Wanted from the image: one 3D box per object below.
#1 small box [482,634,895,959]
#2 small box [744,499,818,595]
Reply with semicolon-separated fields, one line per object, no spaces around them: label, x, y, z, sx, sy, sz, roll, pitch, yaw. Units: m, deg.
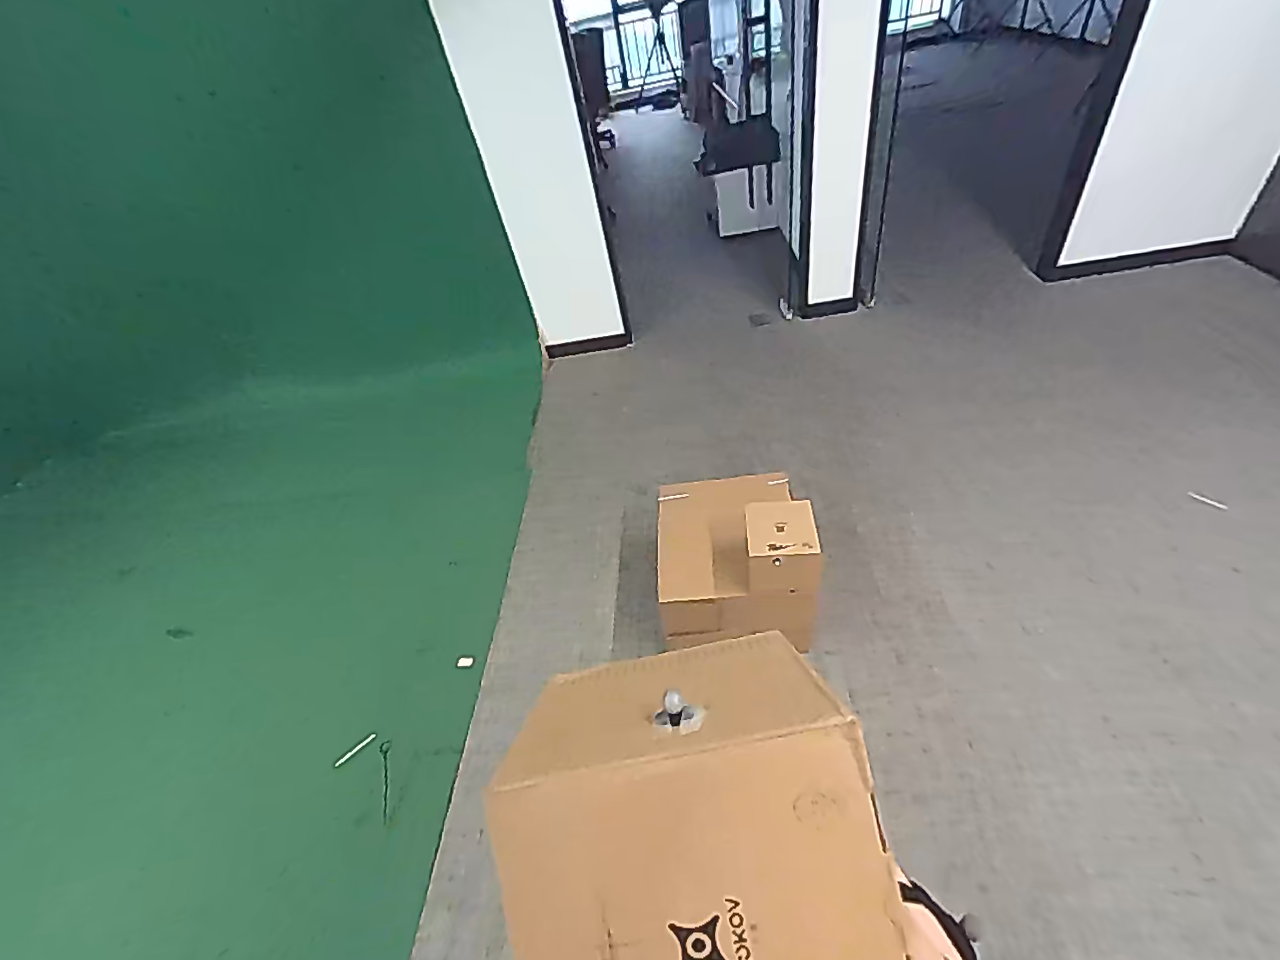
small box;0.027;0.204;0.328;0.179;0.176;0.168;-11;87;2
small box;0.350;0.170;1.369;0.168;0.176;0.179;-4;42;10
